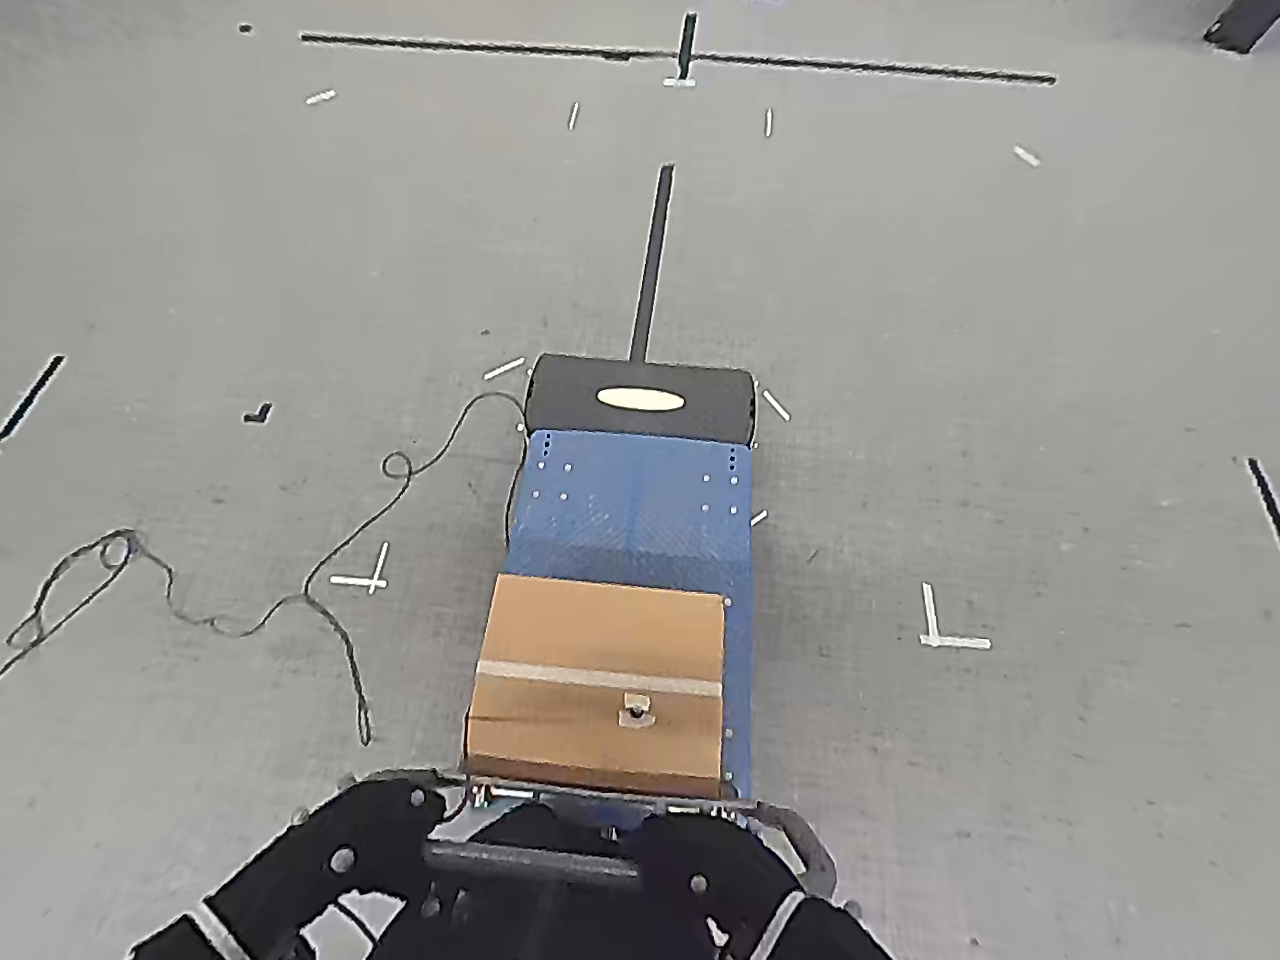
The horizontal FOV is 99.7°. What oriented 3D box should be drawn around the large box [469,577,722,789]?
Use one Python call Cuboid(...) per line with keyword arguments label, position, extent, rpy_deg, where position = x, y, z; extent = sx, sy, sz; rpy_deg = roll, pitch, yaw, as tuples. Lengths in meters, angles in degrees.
Cuboid(label="large box", position=(-0.068, 0.394, 1.046), extent=(0.408, 0.320, 0.320), rpy_deg=(6, 65, 1))
